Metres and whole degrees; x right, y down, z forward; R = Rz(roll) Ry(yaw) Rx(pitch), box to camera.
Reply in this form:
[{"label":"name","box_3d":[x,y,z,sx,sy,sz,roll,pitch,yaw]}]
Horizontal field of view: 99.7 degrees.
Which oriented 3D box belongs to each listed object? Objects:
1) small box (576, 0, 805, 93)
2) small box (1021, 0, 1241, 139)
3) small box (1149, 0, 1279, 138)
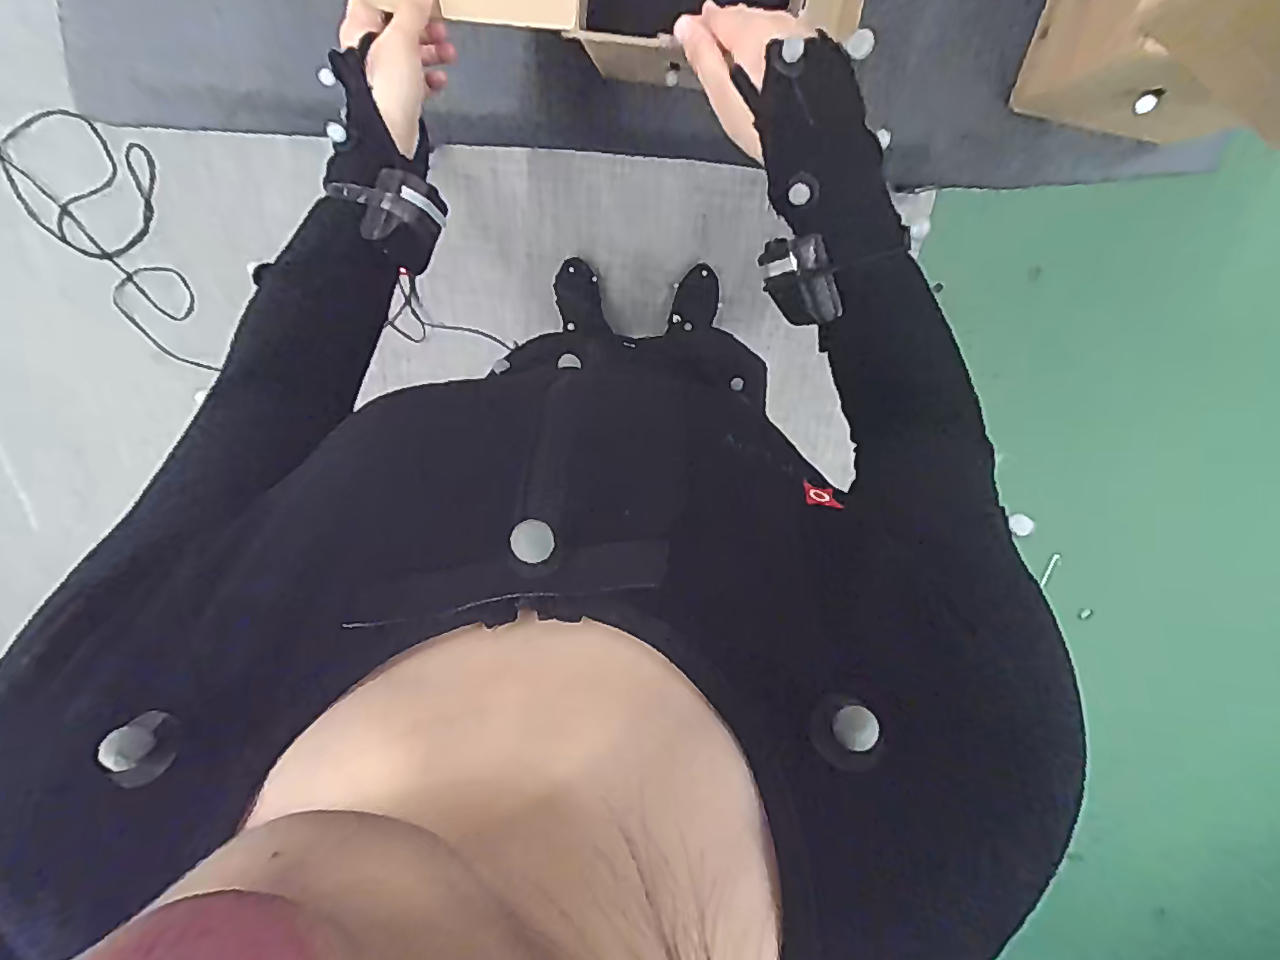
[{"label":"small box","box_3d":[0.050,-0.448,0.460,0.179,0.176,0.168,8,117,2]},{"label":"small box","box_3d":[0.479,-0.412,0.458,0.179,0.176,0.168,11,112,-1]},{"label":"small box","box_3d":[0.475,-0.335,0.313,0.179,0.176,0.168,30,109,-11]}]
